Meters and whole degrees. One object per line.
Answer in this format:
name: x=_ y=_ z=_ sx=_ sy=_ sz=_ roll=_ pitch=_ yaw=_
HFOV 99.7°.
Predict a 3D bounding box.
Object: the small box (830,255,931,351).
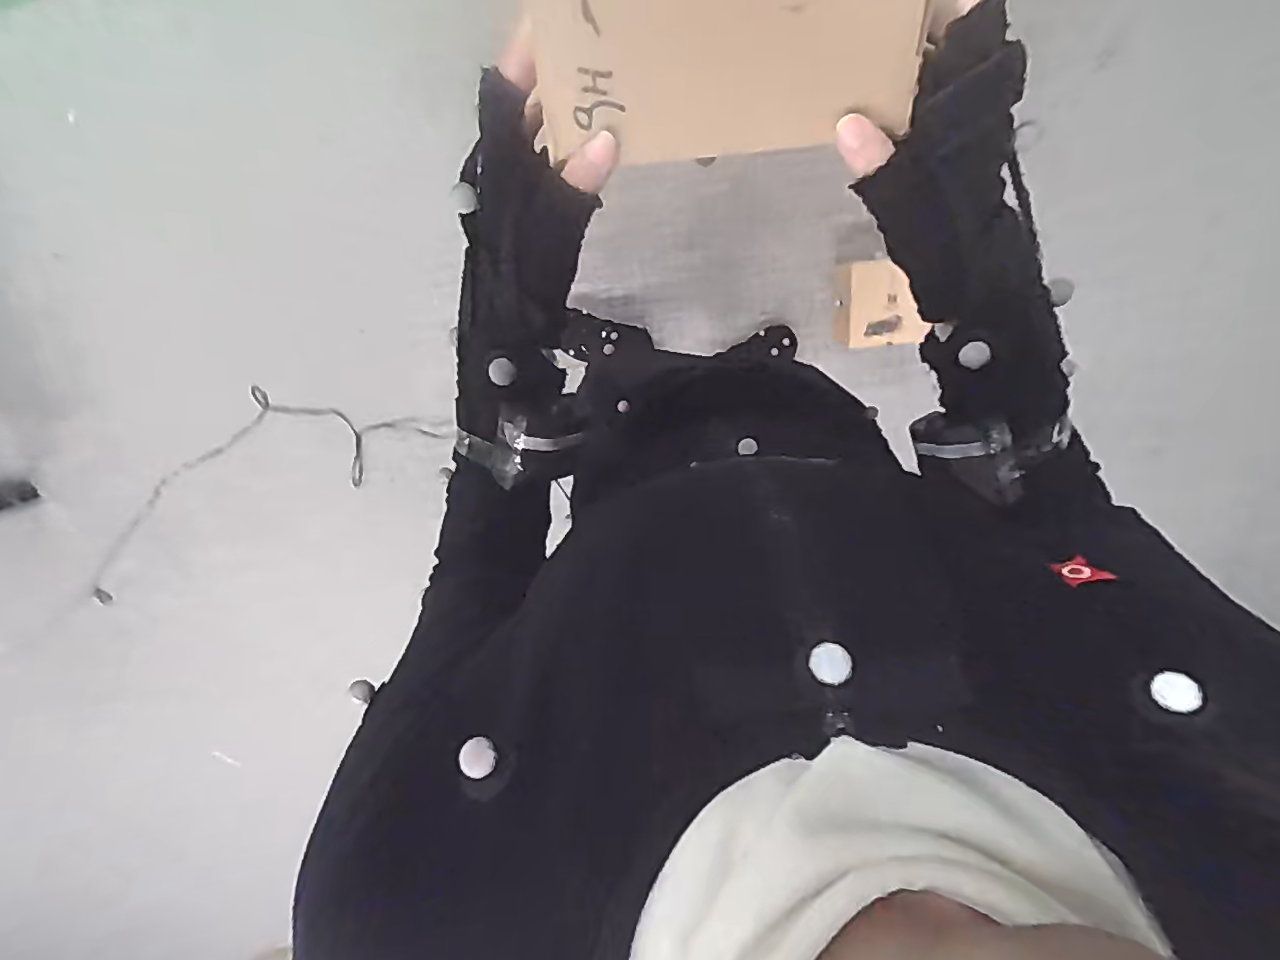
small box: x=0.526 y=-0.395 z=1.202 sx=0.168 sy=0.176 sz=0.179 roll=-6 pitch=110 yaw=9
